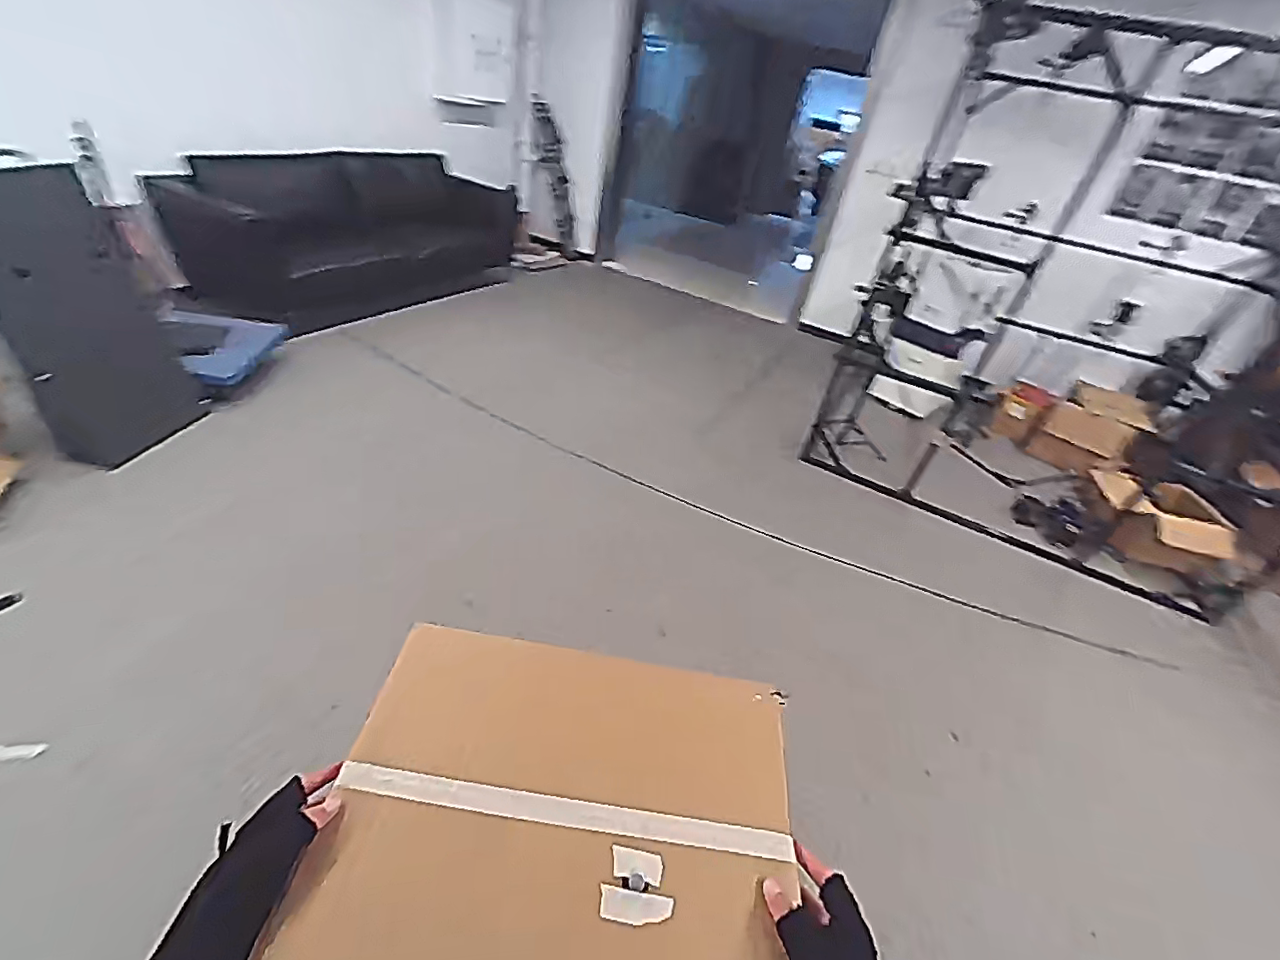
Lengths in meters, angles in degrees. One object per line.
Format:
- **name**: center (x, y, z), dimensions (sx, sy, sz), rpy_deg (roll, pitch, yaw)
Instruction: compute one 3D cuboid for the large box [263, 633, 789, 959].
- **large box**: center (-0.091, 0.408, 0.586), dimensions (0.408, 0.320, 0.320), rpy_deg (10, 42, -1)
